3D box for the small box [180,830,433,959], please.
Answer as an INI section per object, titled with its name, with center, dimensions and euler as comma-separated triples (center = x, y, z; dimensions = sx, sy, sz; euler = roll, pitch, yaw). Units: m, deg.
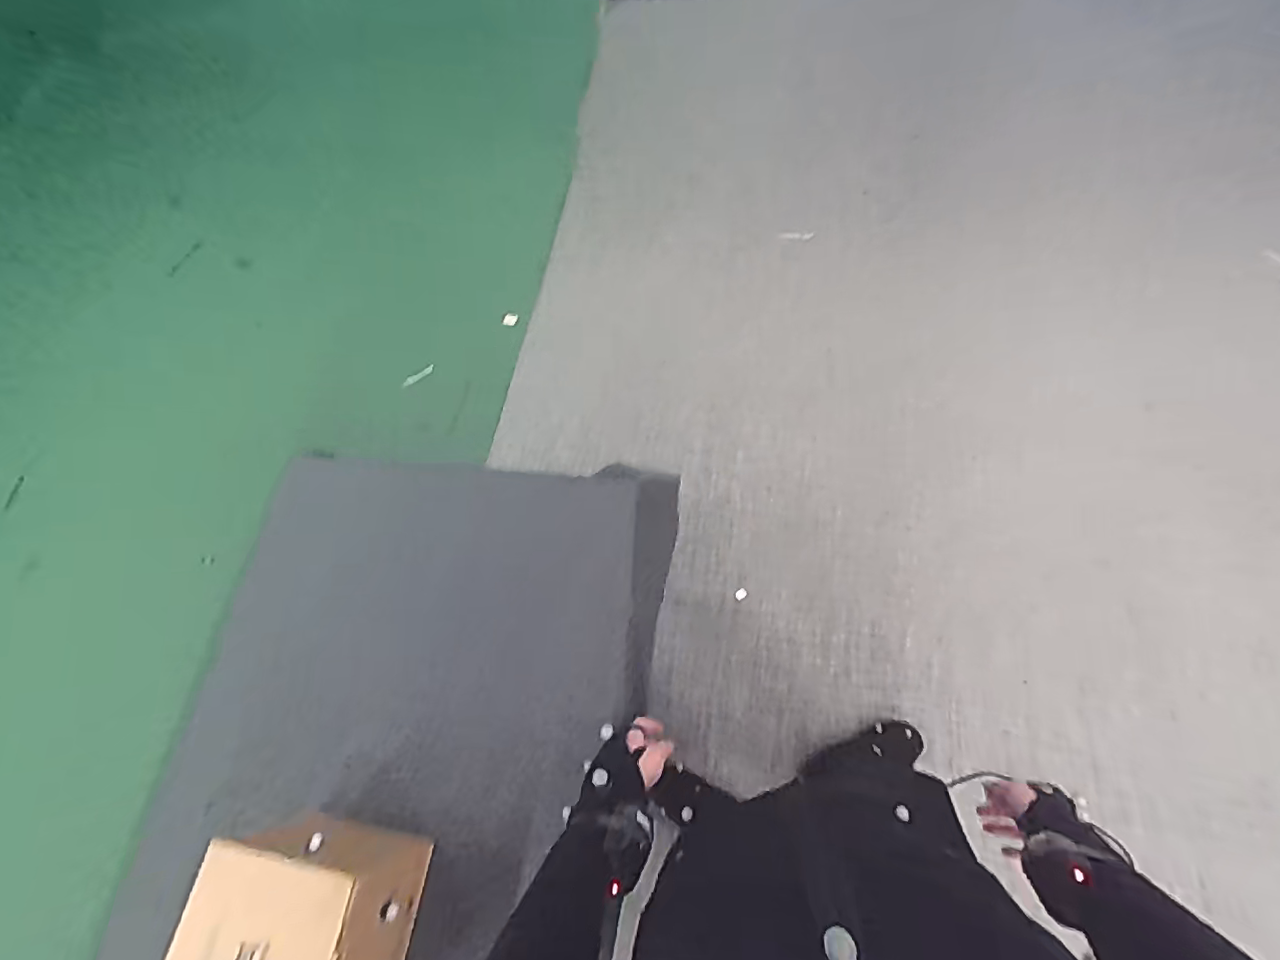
[small box]
center = -0.362, 0.509, 0.599
dimensions = 0.179, 0.176, 0.168
euler = 5, 67, 11
